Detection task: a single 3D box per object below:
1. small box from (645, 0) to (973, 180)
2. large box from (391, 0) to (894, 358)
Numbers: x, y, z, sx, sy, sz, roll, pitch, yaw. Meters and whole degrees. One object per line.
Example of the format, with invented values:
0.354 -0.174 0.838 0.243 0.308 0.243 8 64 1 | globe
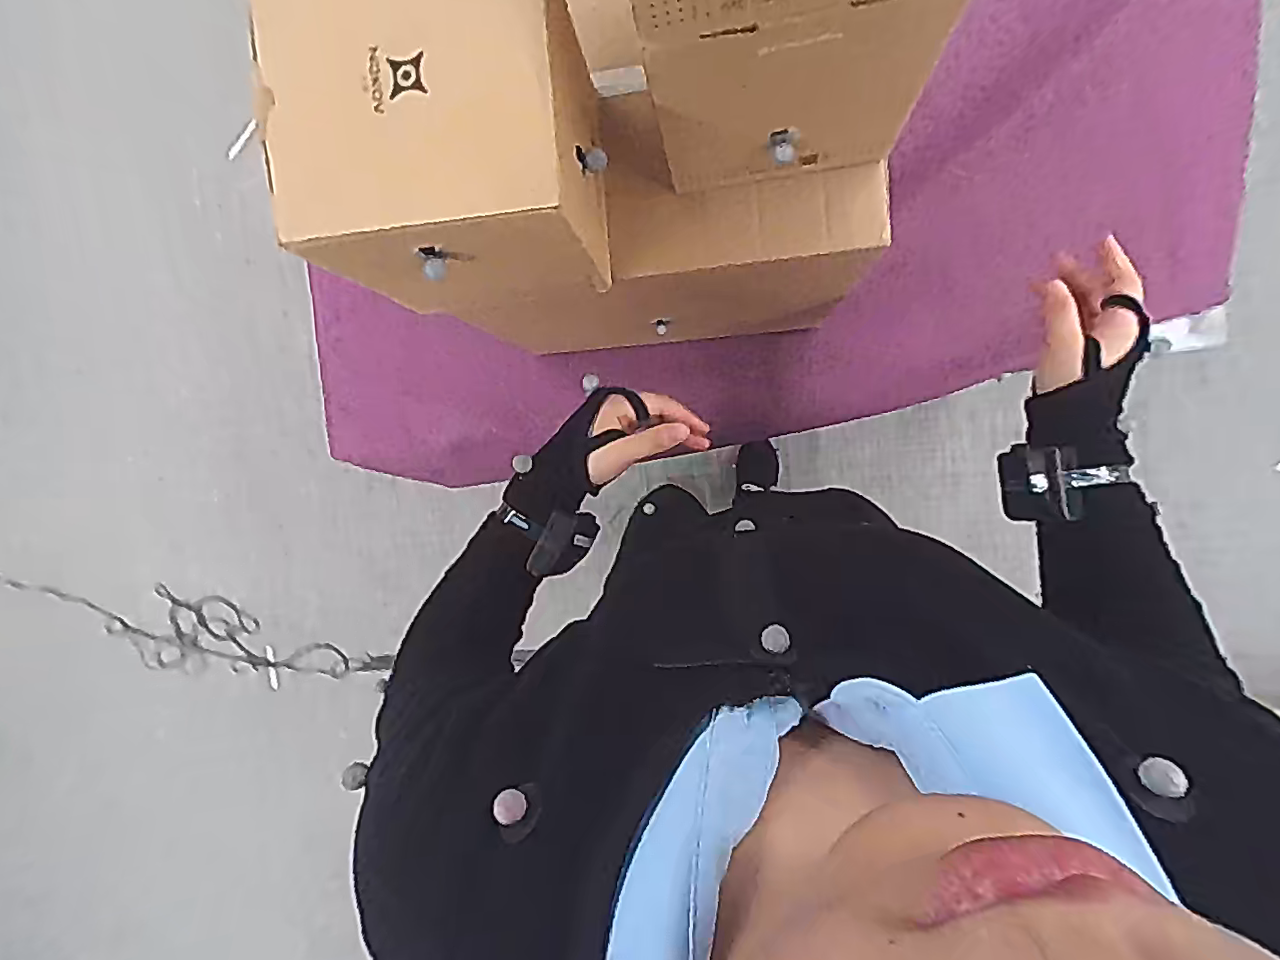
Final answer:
0.089 -0.323 0.333 0.168 0.176 0.179 -5 93 10 | small box
0.014 -0.332 0.592 0.408 0.320 0.320 -5 92 10 | large box
